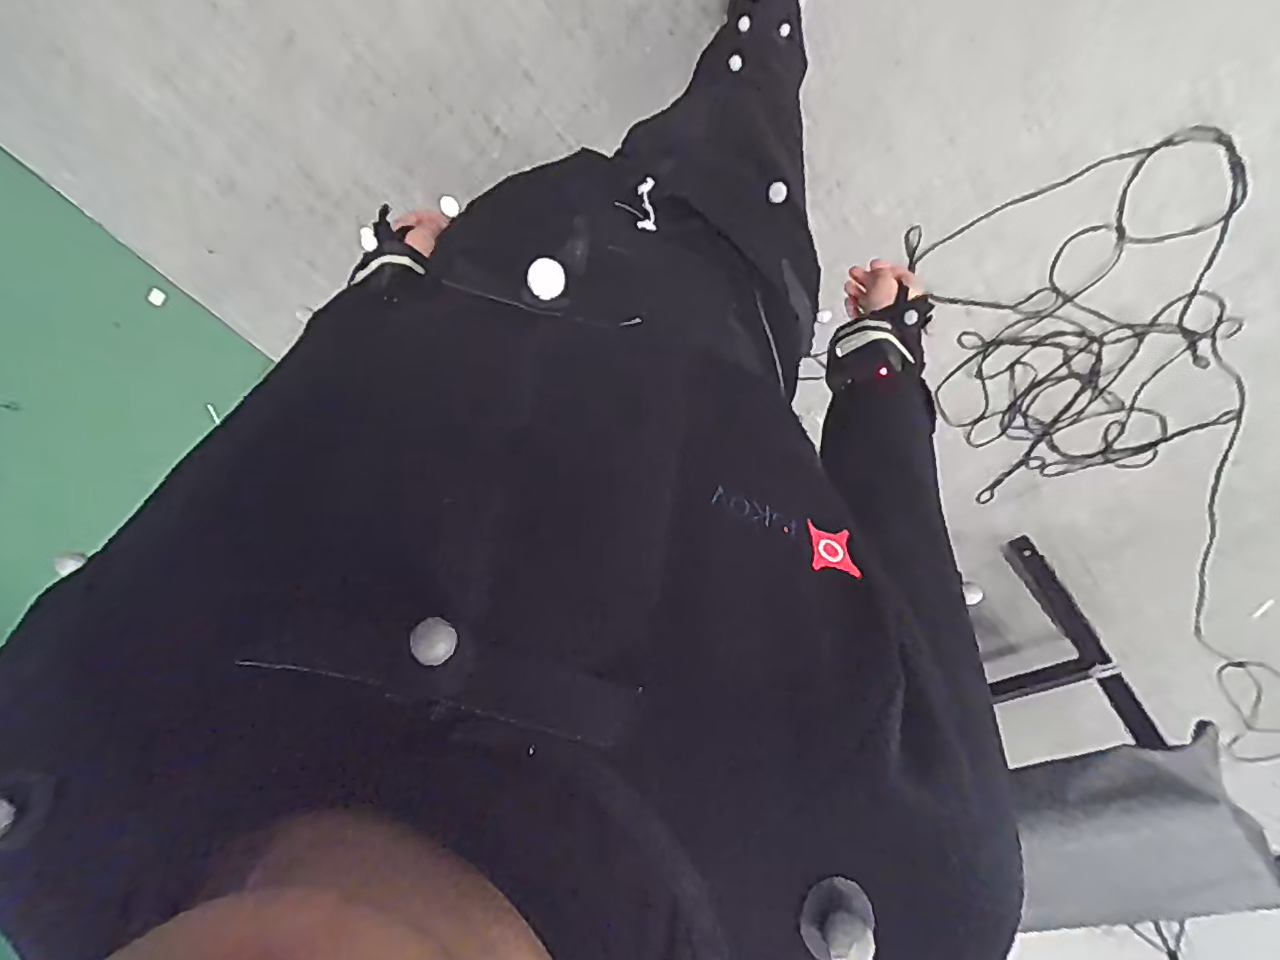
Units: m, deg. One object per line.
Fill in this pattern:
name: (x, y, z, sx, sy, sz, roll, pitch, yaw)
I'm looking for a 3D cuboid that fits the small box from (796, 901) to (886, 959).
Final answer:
small box: (0.536, 1.245, 1.440, 0.168, 0.176, 0.179, -34, 118, 30)
